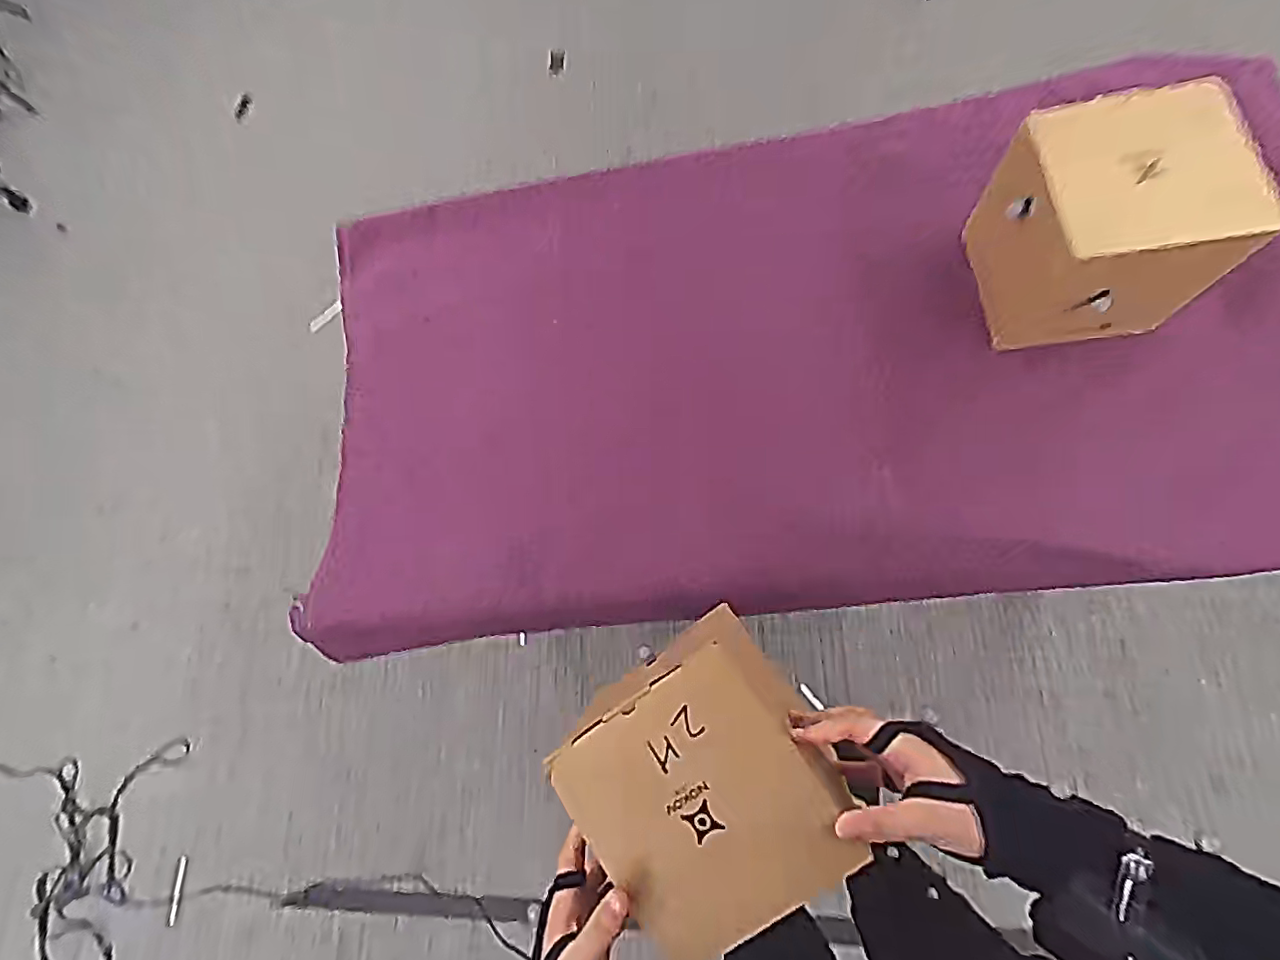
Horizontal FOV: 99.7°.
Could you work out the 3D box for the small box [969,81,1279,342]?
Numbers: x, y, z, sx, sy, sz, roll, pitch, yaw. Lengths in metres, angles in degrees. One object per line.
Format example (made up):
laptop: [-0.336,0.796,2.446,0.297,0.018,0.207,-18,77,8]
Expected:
small box: [0.480,-0.262,0.570,0.168,0.176,0.179,-5,72,9]
